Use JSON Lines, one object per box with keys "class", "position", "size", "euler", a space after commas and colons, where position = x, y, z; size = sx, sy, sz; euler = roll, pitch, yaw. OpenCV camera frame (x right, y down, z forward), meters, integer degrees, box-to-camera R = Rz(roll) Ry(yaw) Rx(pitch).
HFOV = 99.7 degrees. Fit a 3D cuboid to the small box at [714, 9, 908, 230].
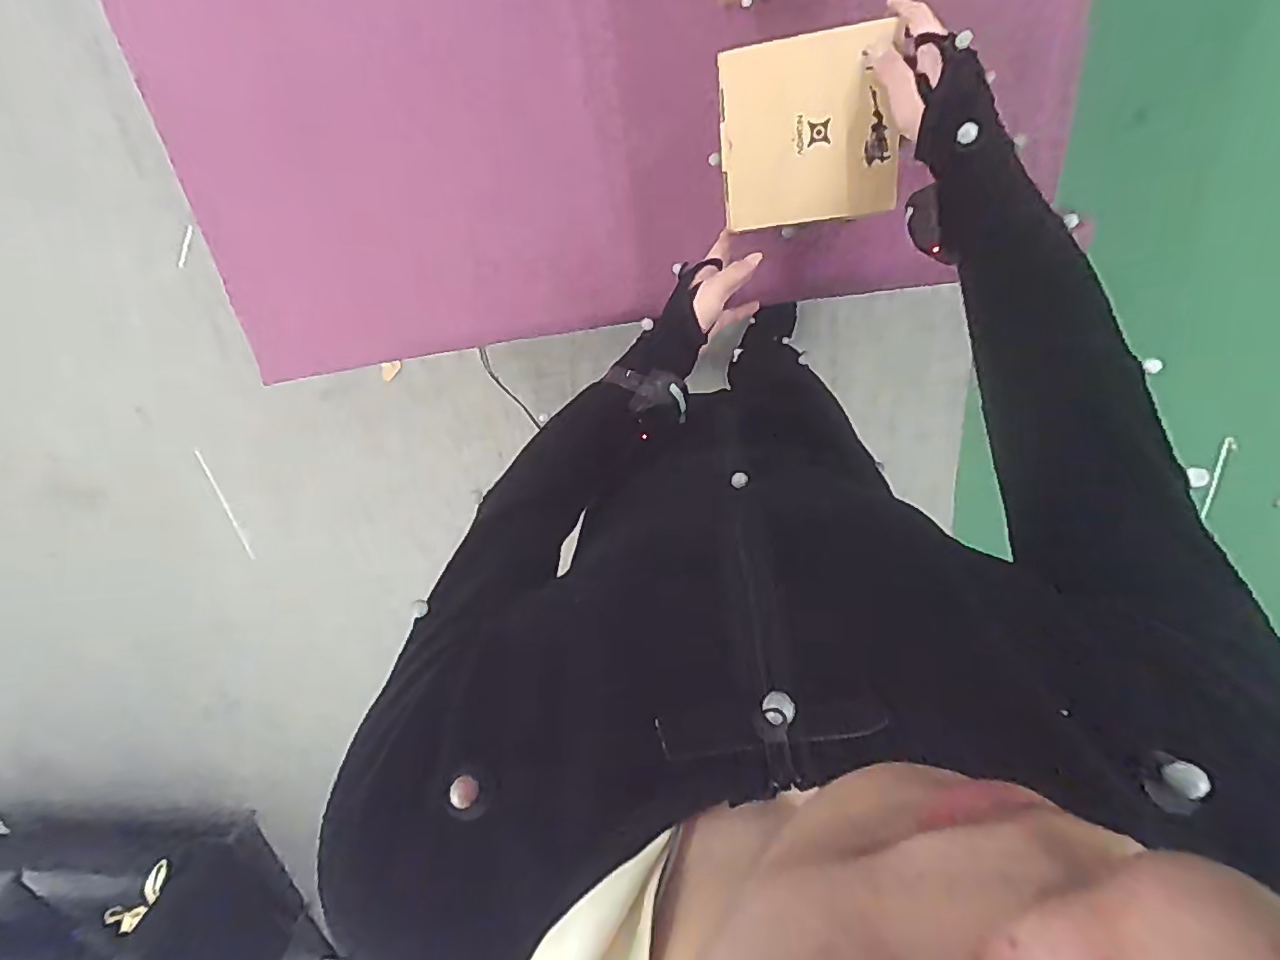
{"class": "small box", "position": [0.179, -0.380, 0.607], "size": [0.179, 0.176, 0.168], "euler": [-2, 113, 11]}
